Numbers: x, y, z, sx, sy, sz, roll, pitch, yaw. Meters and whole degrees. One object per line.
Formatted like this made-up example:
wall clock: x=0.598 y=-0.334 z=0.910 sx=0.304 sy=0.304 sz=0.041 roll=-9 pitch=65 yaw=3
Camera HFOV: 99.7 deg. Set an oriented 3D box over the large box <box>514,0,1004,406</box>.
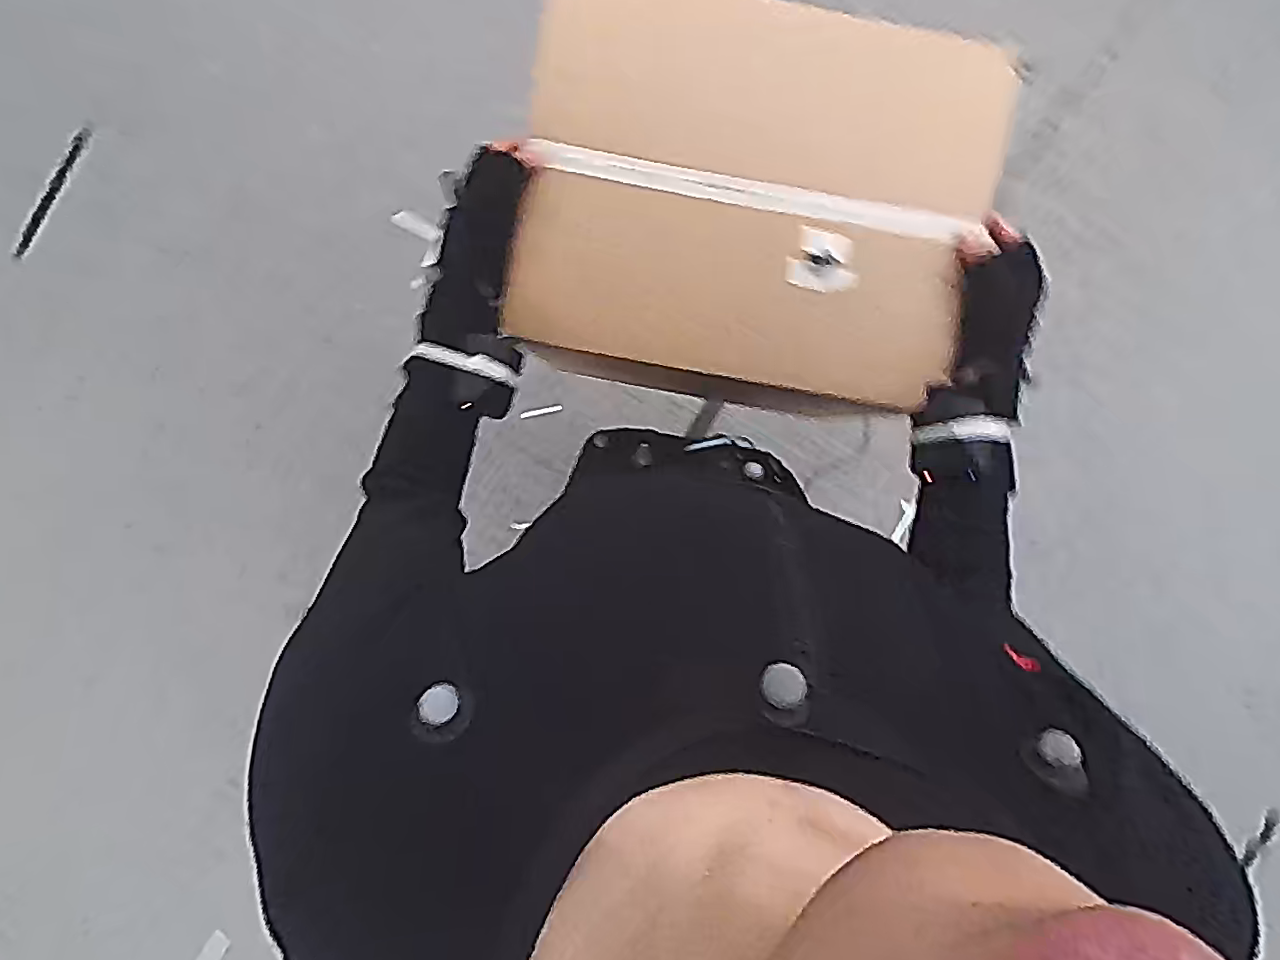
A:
large box: x=0.097 y=-0.272 z=0.628 sx=0.408 sy=0.320 sz=0.320 roll=10 pitch=97 yaw=-3
